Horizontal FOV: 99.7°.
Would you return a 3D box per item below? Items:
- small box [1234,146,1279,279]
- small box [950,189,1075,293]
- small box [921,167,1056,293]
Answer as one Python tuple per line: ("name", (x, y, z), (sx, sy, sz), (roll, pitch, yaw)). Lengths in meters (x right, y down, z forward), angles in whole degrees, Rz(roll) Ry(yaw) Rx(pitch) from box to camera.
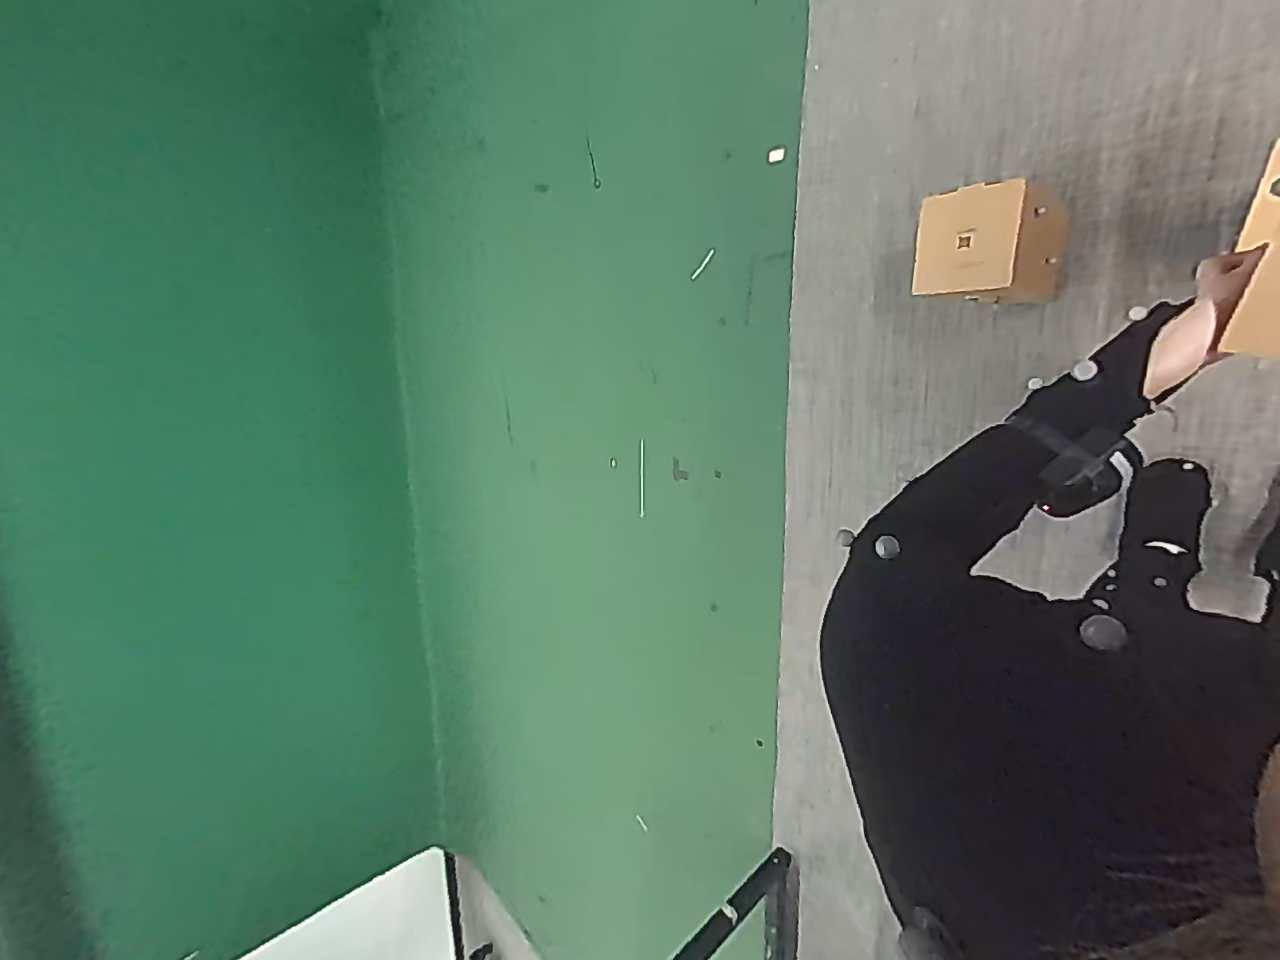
("small box", (0.935, -0.365, 0.716), (0.168, 0.176, 0.179), (22, 115, 44))
("small box", (0.771, -0.482, 1.121), (0.168, 0.176, 0.179), (17, 112, 45))
("small box", (0.653, -0.455, 1.013), (0.168, 0.176, 0.179), (13, 109, 47))
